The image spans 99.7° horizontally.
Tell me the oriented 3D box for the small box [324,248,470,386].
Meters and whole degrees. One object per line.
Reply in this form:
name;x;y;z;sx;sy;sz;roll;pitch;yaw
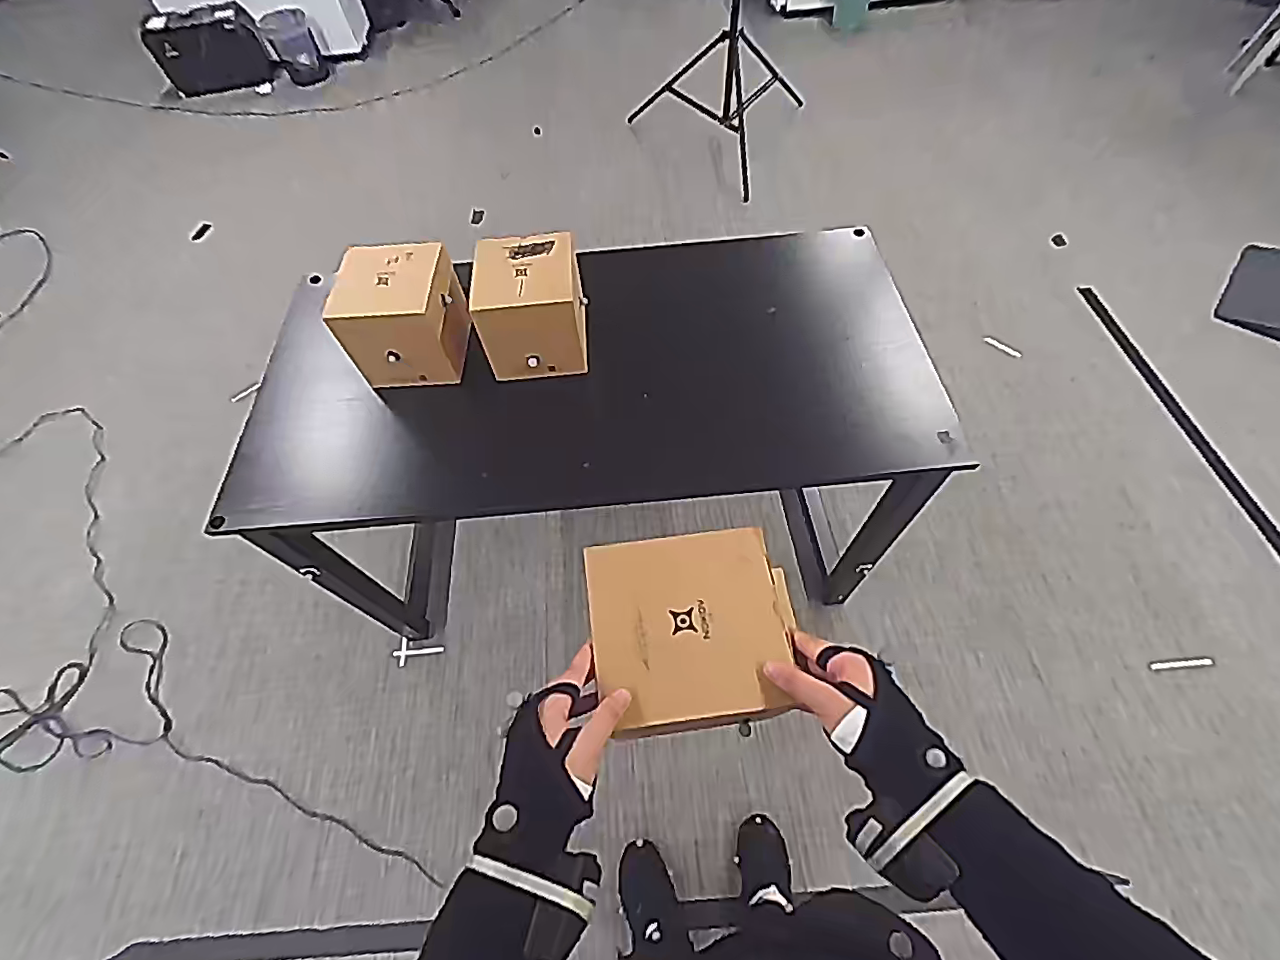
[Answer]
small box;-0.413;-0.278;0.955;0.168;0.176;0.179;-2;58;1

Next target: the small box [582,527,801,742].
small box;0.042;0.165;0.558;0.179;0.176;0.168;-9;60;-2

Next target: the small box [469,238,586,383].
small box;-0.189;-0.294;0.952;0.168;0.176;0.179;-6;59;0

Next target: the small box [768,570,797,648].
small box;0.287;0.349;1.385;0.168;0.176;0.179;-7;58;1
